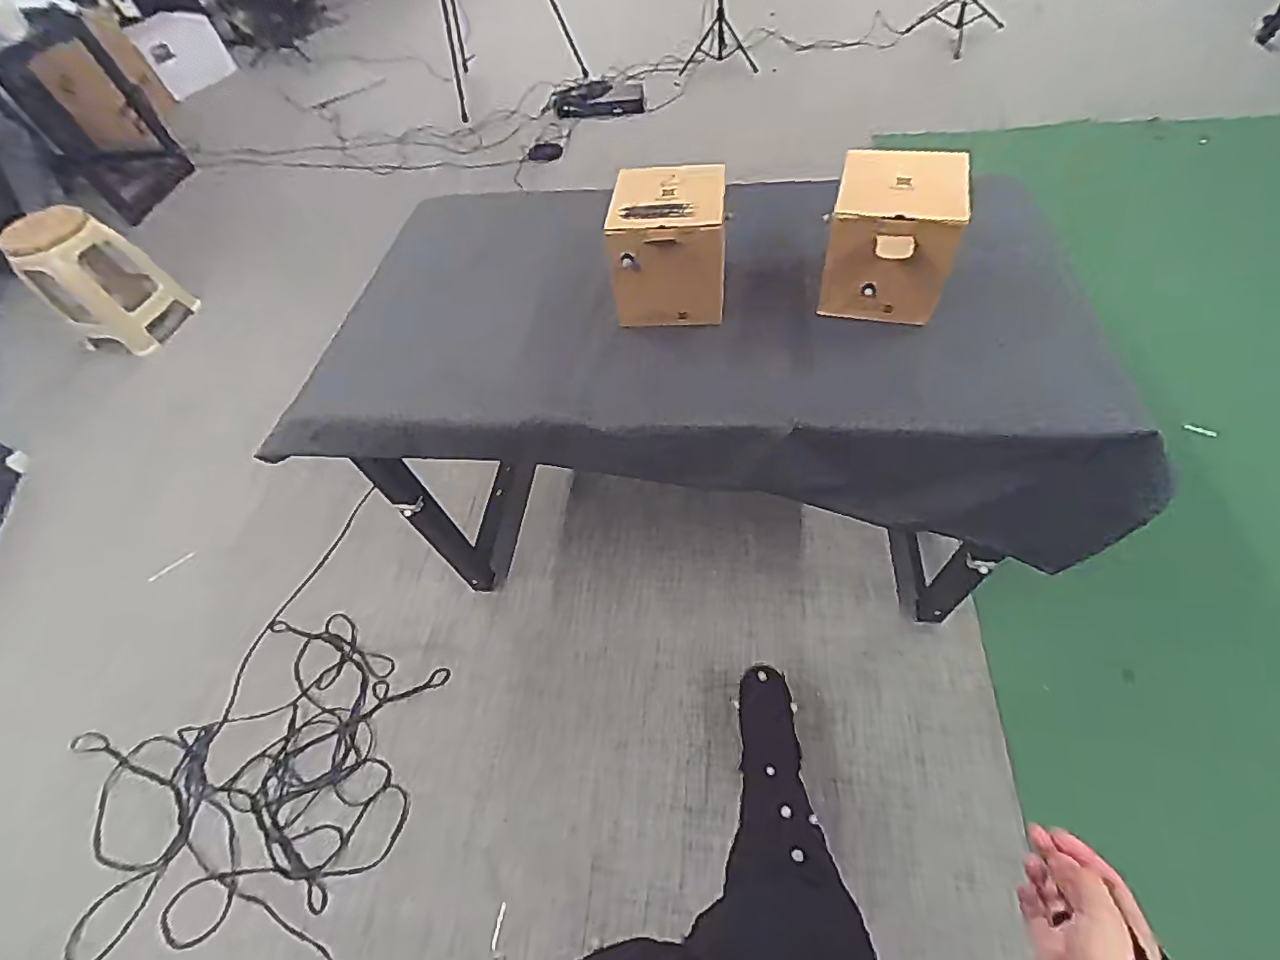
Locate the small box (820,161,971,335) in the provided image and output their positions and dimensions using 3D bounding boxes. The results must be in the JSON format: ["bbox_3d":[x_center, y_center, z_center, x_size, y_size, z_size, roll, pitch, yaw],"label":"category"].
[{"bbox_3d":[0.375,-0.348,0.813,0.168,0.176,0.179,11,58,15],"label":"small box"}]
